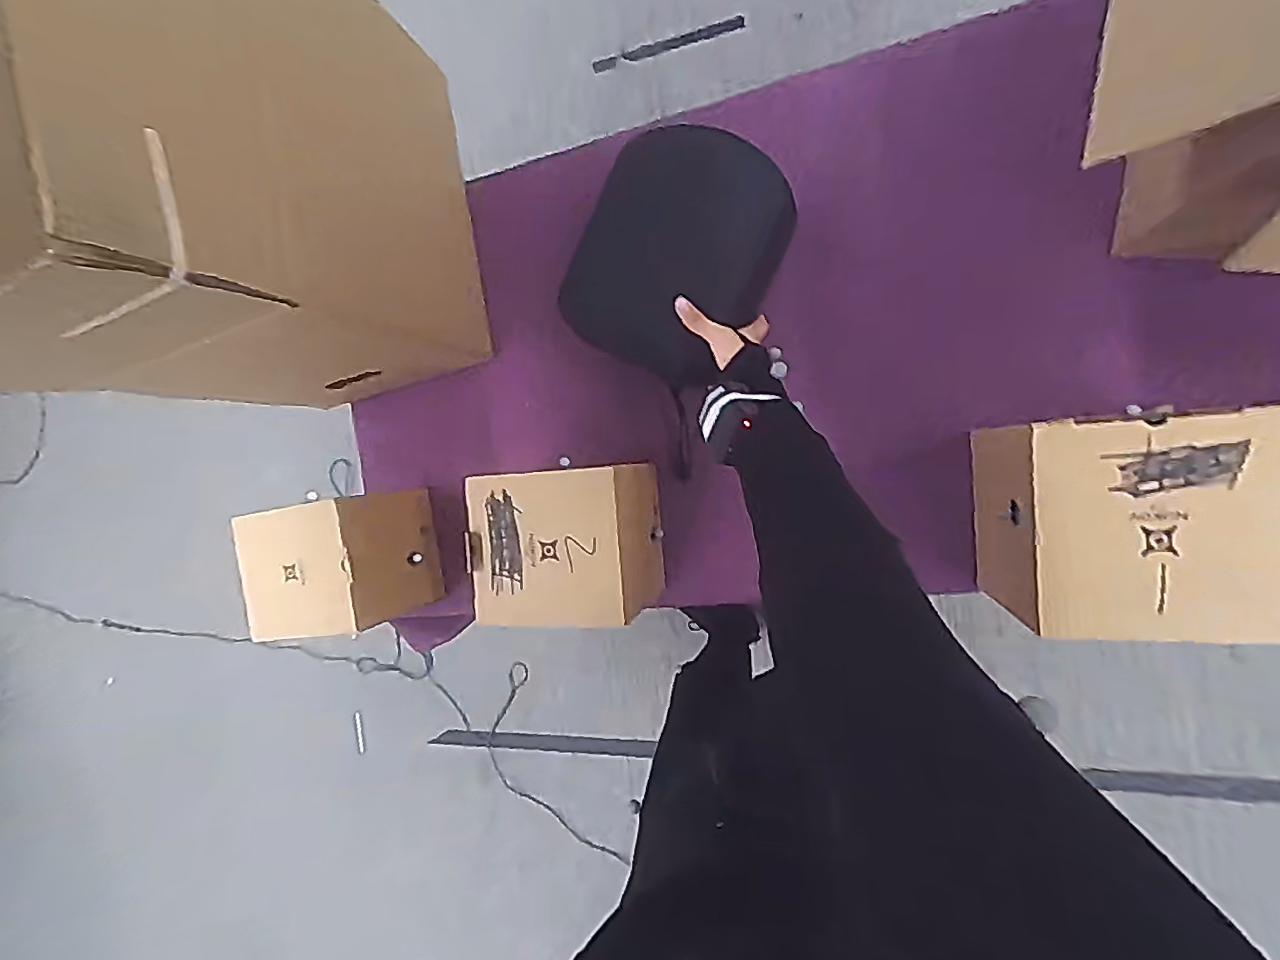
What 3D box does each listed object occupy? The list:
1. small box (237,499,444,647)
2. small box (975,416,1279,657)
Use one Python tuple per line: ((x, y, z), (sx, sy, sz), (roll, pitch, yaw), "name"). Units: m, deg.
((-0.403, 0.121, 0.747), (0.179, 0.176, 0.168), (-10, 89, 16), "small box")
((0.417, 0.042, 0.485), (0.168, 0.176, 0.179), (-3, 92, 18), "small box")
